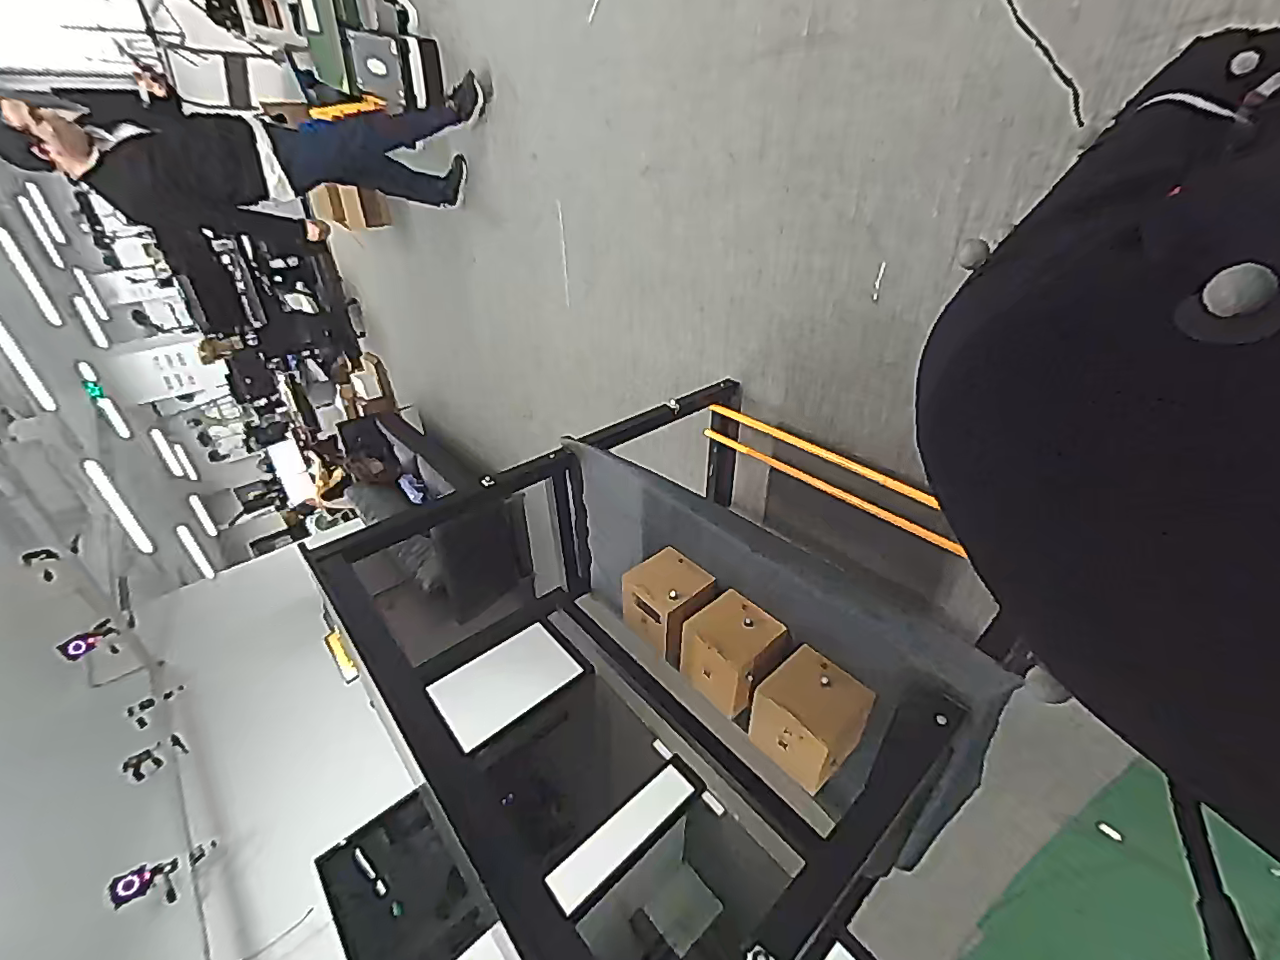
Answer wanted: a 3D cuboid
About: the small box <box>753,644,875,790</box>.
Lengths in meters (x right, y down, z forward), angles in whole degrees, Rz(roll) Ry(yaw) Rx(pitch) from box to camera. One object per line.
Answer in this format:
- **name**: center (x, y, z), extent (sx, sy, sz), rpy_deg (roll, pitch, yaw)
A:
- **small box**: center (0.354, 0.477, 1.106), extent (0.168, 0.176, 0.179), rpy_deg (31, 135, 39)
